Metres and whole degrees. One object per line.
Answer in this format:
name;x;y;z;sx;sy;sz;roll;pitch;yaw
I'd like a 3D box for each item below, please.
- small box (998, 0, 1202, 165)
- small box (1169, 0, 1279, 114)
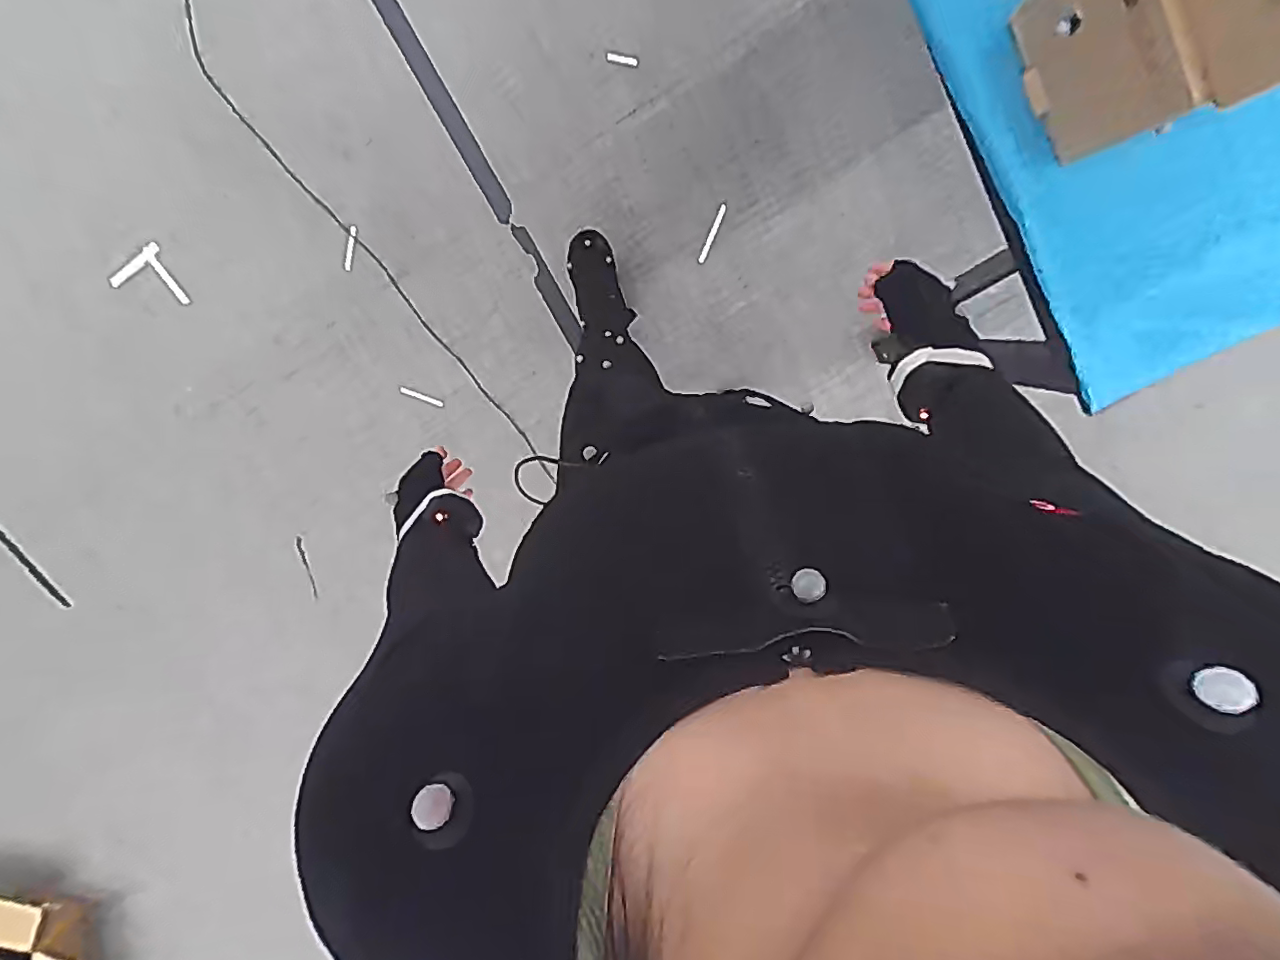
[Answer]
small box;0.488;-0.437;0.494;0.179;0.176;0.168;-30;103;10
small box;0.490;-0.390;0.337;0.168;0.176;0.179;-28;100;8
